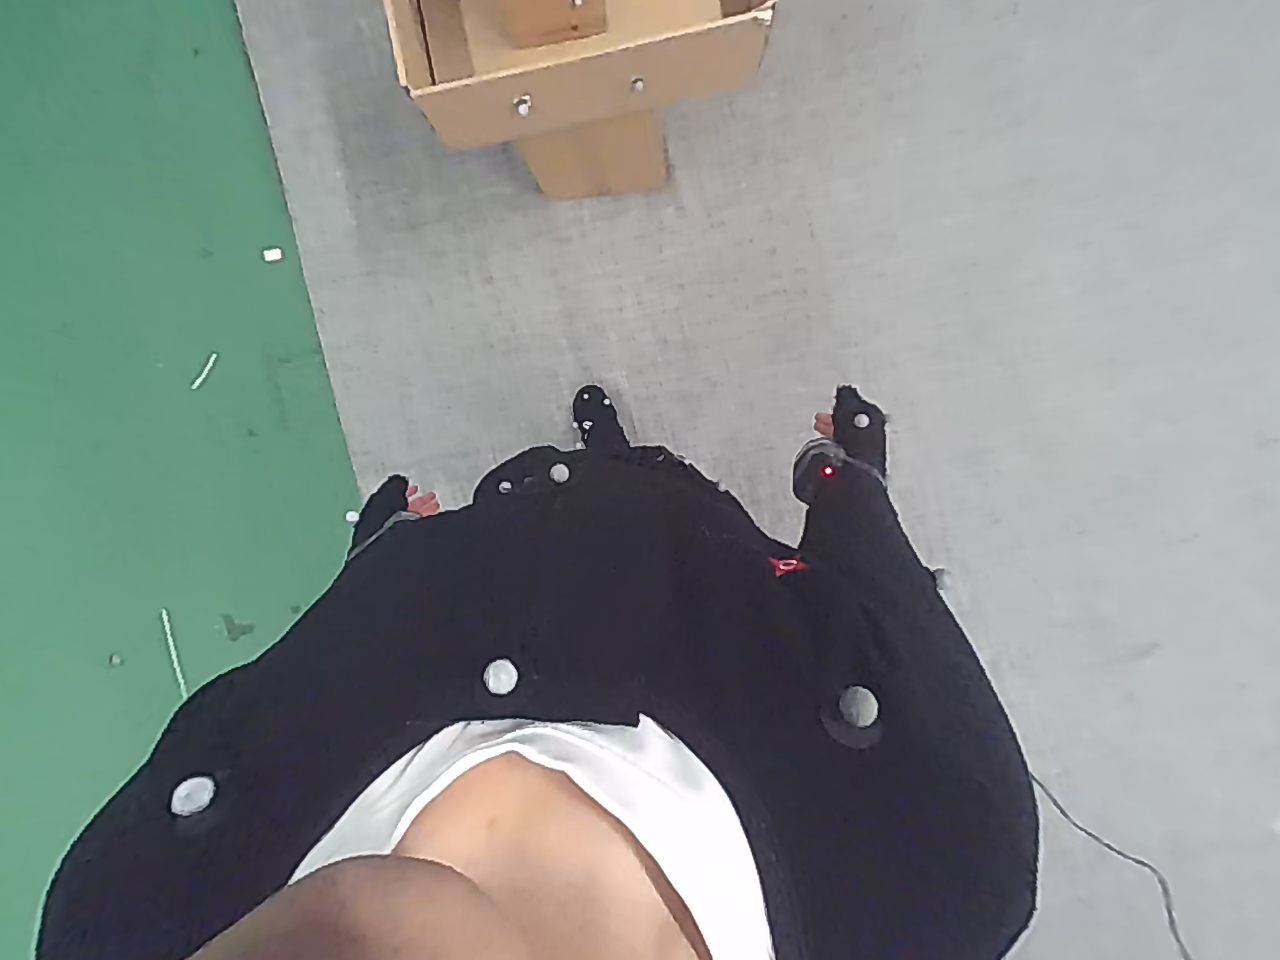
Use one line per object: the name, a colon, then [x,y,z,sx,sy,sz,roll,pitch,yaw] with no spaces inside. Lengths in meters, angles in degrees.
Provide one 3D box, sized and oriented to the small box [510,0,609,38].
small box: [-0.150,-0.888,0.904,0.168,0.176,0.179,-11,91,1]
